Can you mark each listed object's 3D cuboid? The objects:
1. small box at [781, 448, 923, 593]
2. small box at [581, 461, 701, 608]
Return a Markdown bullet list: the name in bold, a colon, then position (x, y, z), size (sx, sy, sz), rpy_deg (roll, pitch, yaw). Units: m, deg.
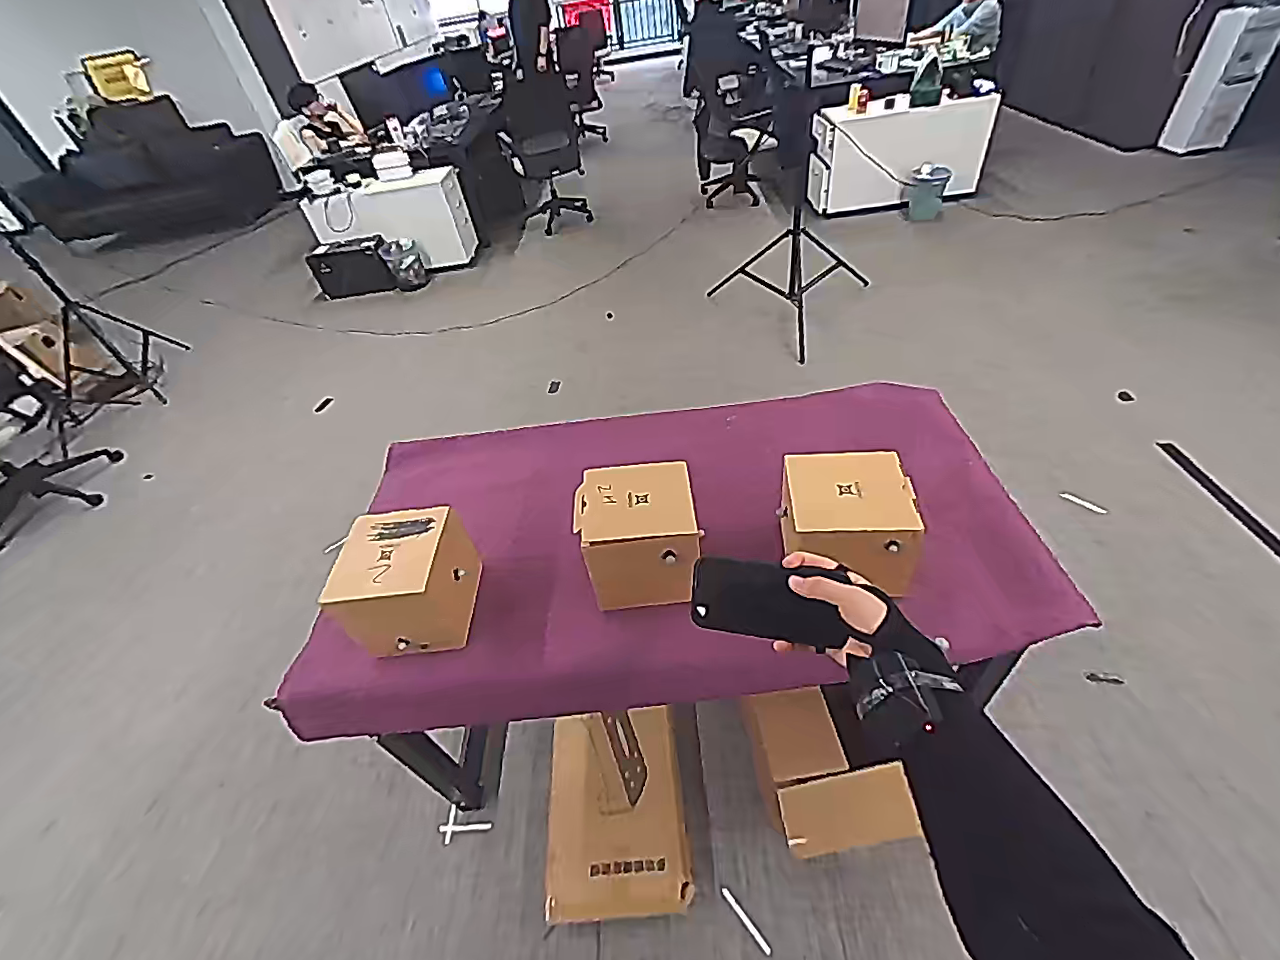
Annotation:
- **small box**: position (0.322, 0.068, 0.864), size (0.179, 0.176, 0.168), rpy_deg (-2, 44, 8)
- **small box**: position (0.007, 0.093, 0.899), size (0.179, 0.176, 0.168), rpy_deg (-8, 41, 3)
